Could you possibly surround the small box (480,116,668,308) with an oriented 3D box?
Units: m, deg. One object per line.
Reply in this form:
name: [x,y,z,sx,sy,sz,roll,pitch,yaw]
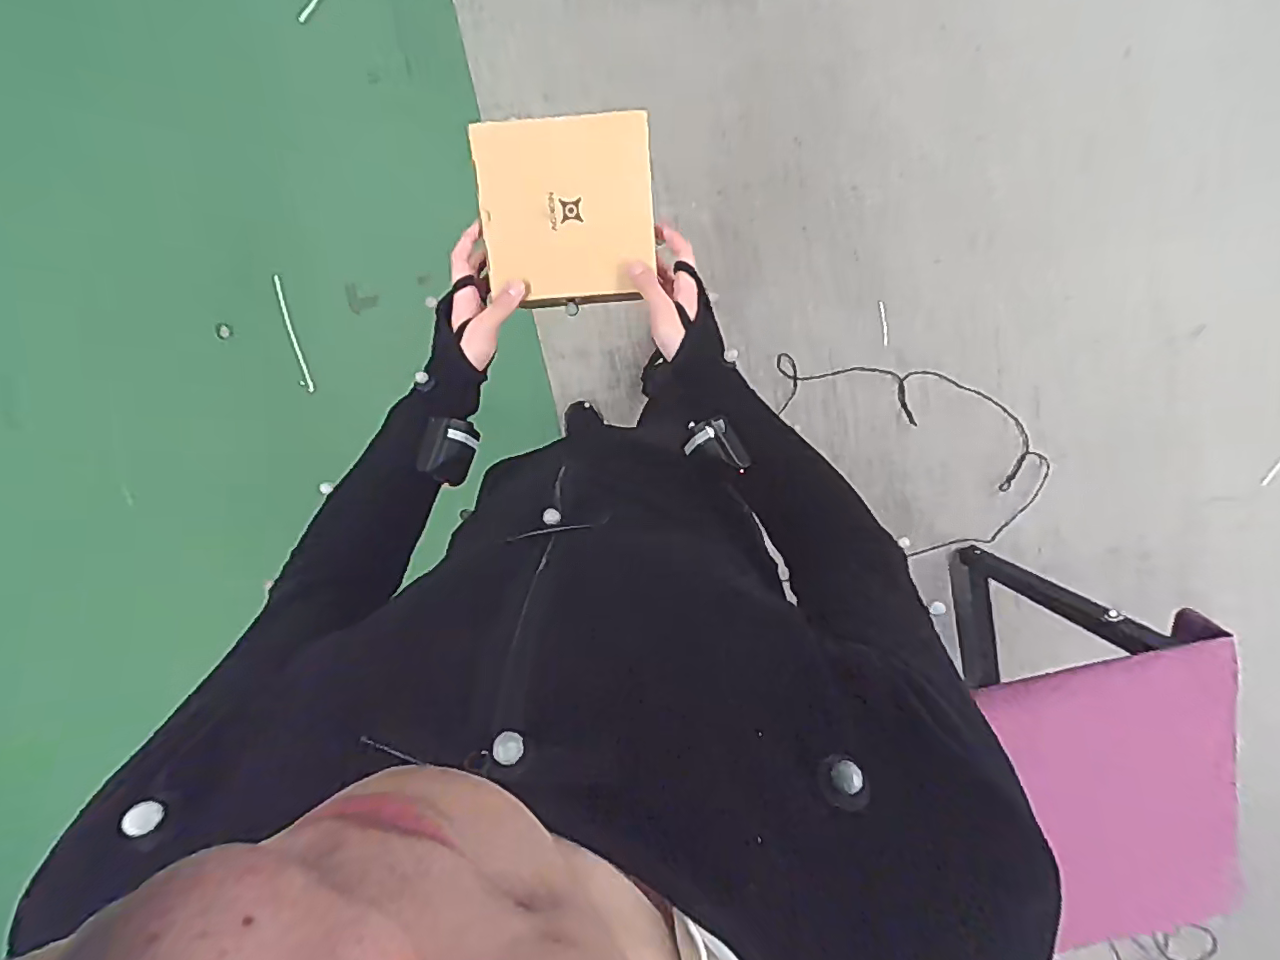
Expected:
small box: [-0.065,-0.288,0.615,0.179,0.176,0.168,-4,106,0]
